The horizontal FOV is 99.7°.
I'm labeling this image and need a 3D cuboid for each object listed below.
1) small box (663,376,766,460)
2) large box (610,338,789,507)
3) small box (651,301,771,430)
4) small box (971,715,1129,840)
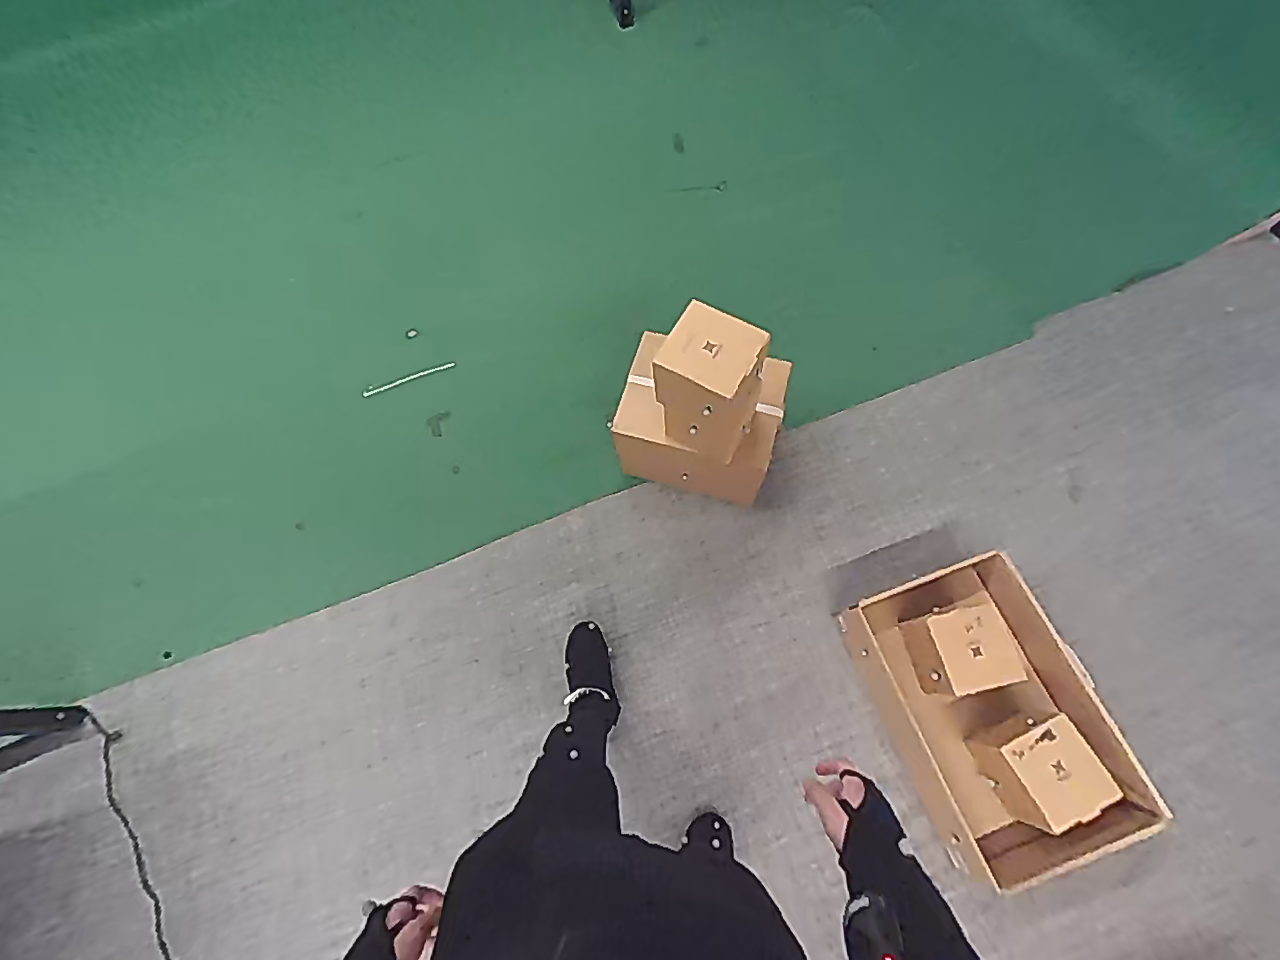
[{"bbox_3d":[0.171,-0.164,1.252,0.179,0.176,0.168,25,75,13],"label":"small box"},{"bbox_3d":[0.169,-0.149,1.507,0.408,0.320,0.320,14,70,10],"label":"large box"},{"bbox_3d":[0.143,-0.223,1.101,0.179,0.176,0.168,29,75,15],"label":"small box"},{"bbox_3d":[0.871,0.630,1.170,0.168,0.176,0.179,-25,69,-5],"label":"small box"}]
